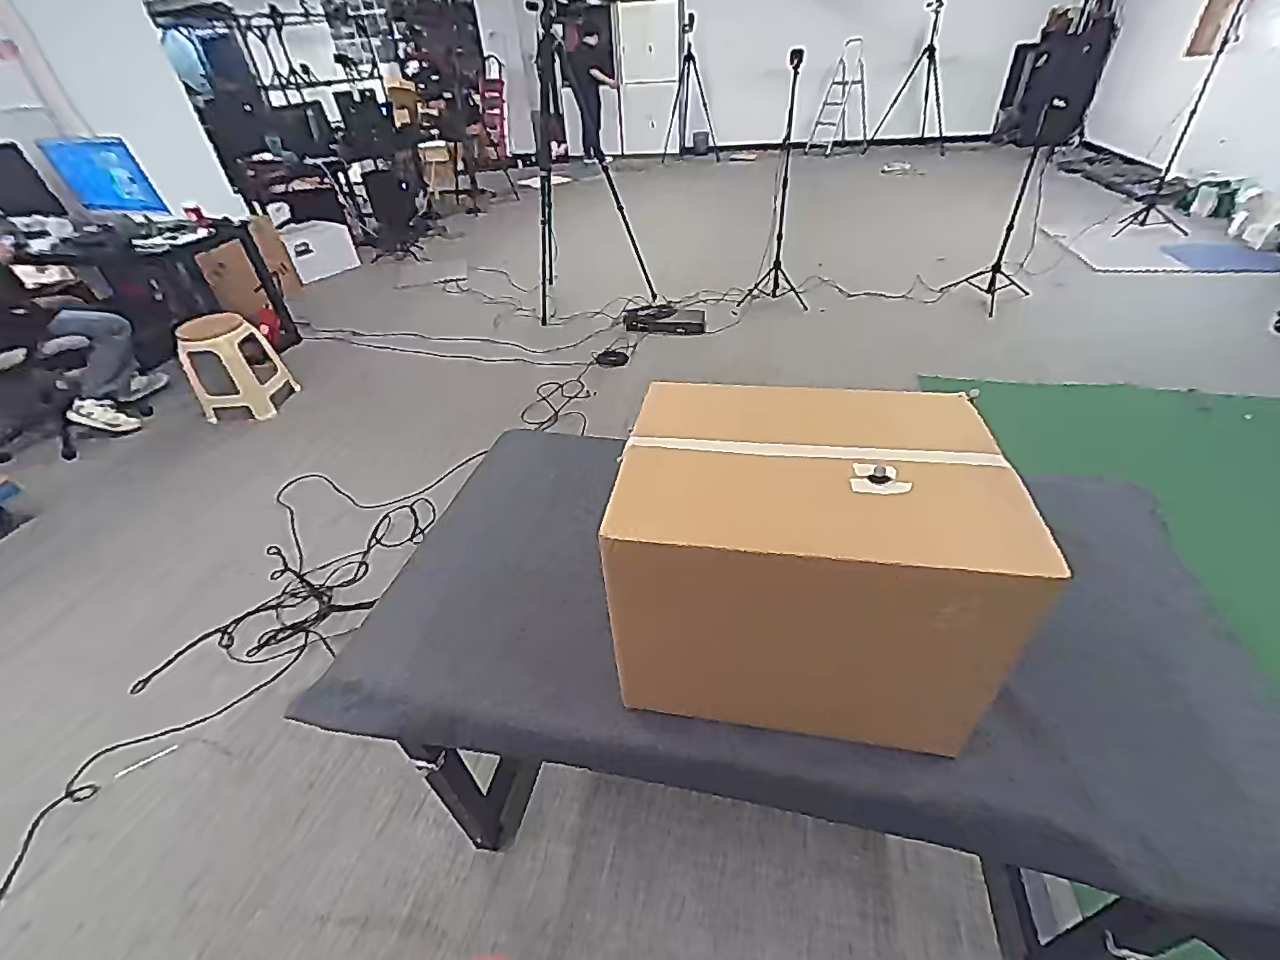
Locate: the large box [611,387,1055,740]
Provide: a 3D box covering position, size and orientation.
[{"bbox_3d":[0.193,0.093,0.699,0.408,0.320,0.320,4,39,9],"label":"large box"}]
